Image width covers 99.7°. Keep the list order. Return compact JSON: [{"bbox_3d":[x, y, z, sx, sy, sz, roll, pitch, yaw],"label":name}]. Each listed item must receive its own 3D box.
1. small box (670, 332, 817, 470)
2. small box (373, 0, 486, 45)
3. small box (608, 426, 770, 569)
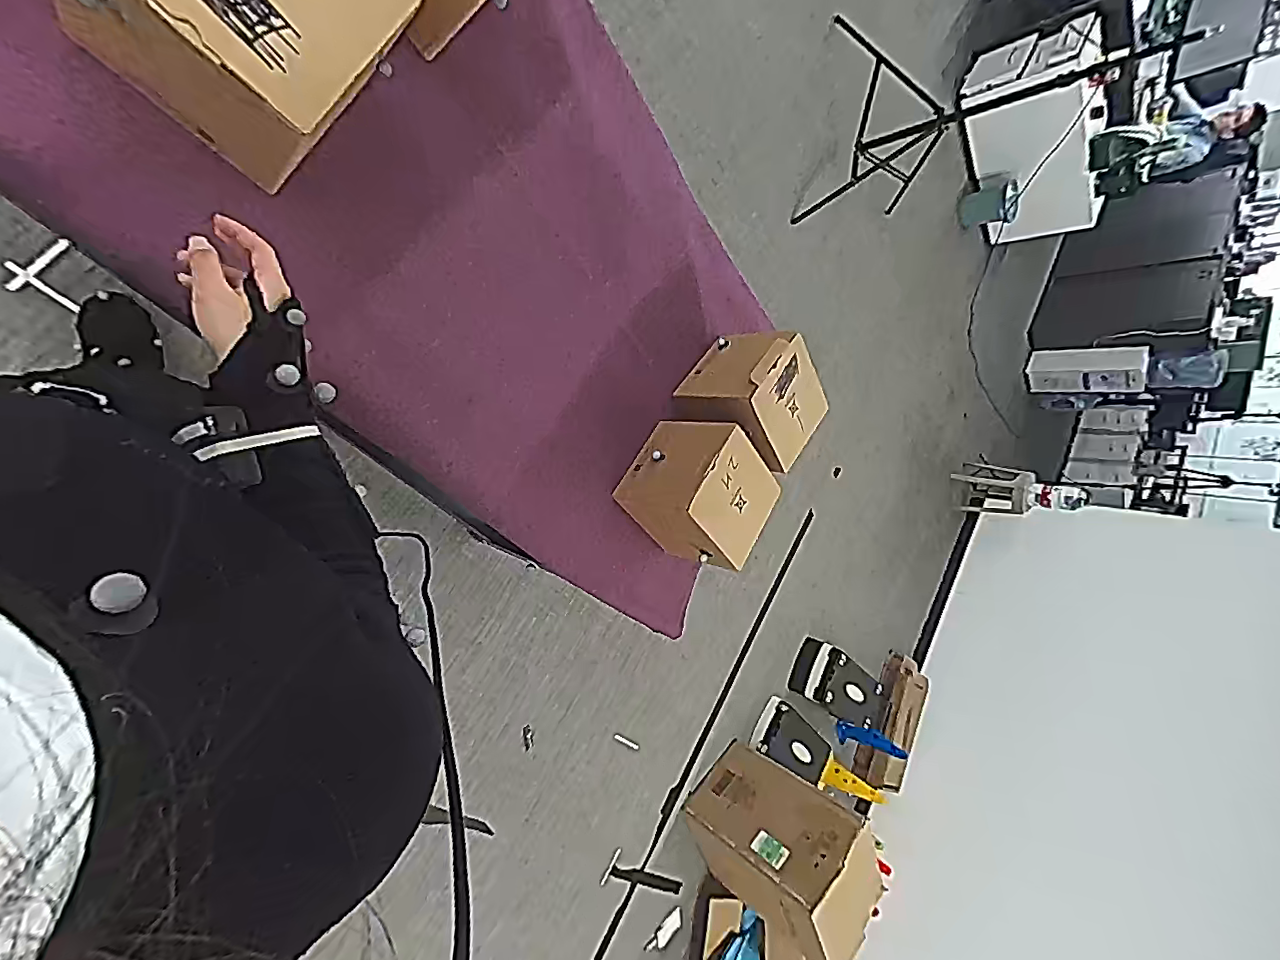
[{"bbox_3d":[0.182,-0.141,0.965,0.168,0.176,0.179,-52,128,-22],"label":"small box"},{"bbox_3d":[-0.206,-0.582,0.535,0.179,0.176,0.168,43,69,-39],"label":"small box"},{"bbox_3d":[0.082,0.020,0.900,0.179,0.176,0.168,49,63,-36],"label":"small box"}]
